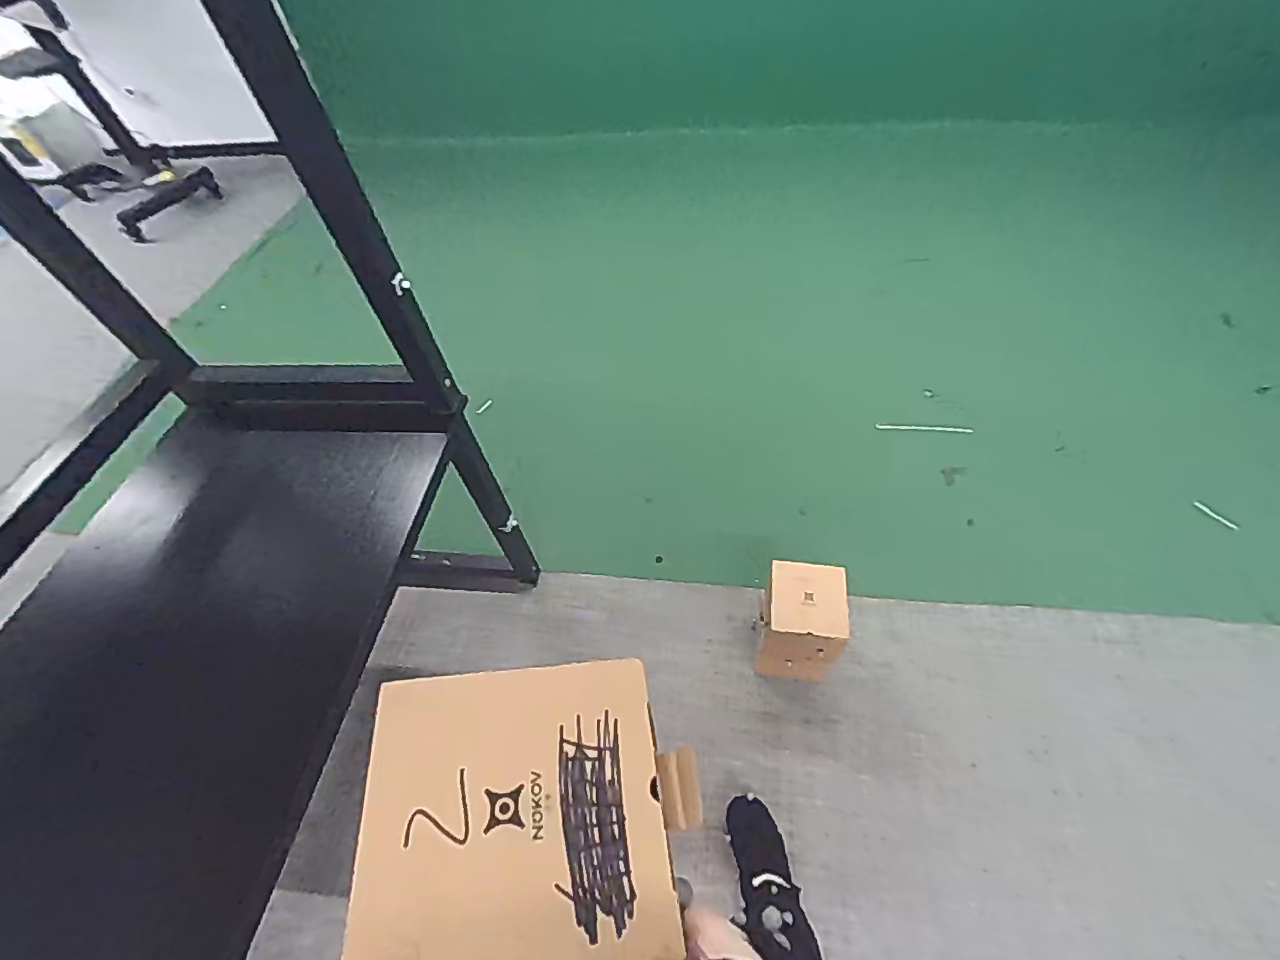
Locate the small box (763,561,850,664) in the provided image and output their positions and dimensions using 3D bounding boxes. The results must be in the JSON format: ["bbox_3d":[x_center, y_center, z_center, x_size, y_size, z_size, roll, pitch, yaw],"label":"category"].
[{"bbox_3d":[0.379,0.310,1.250,0.168,0.176,0.179,5,53,8],"label":"small box"}]

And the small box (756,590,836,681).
[{"bbox_3d":[0.394,0.401,1.383,0.179,0.176,0.168,6,54,8],"label":"small box"}]
